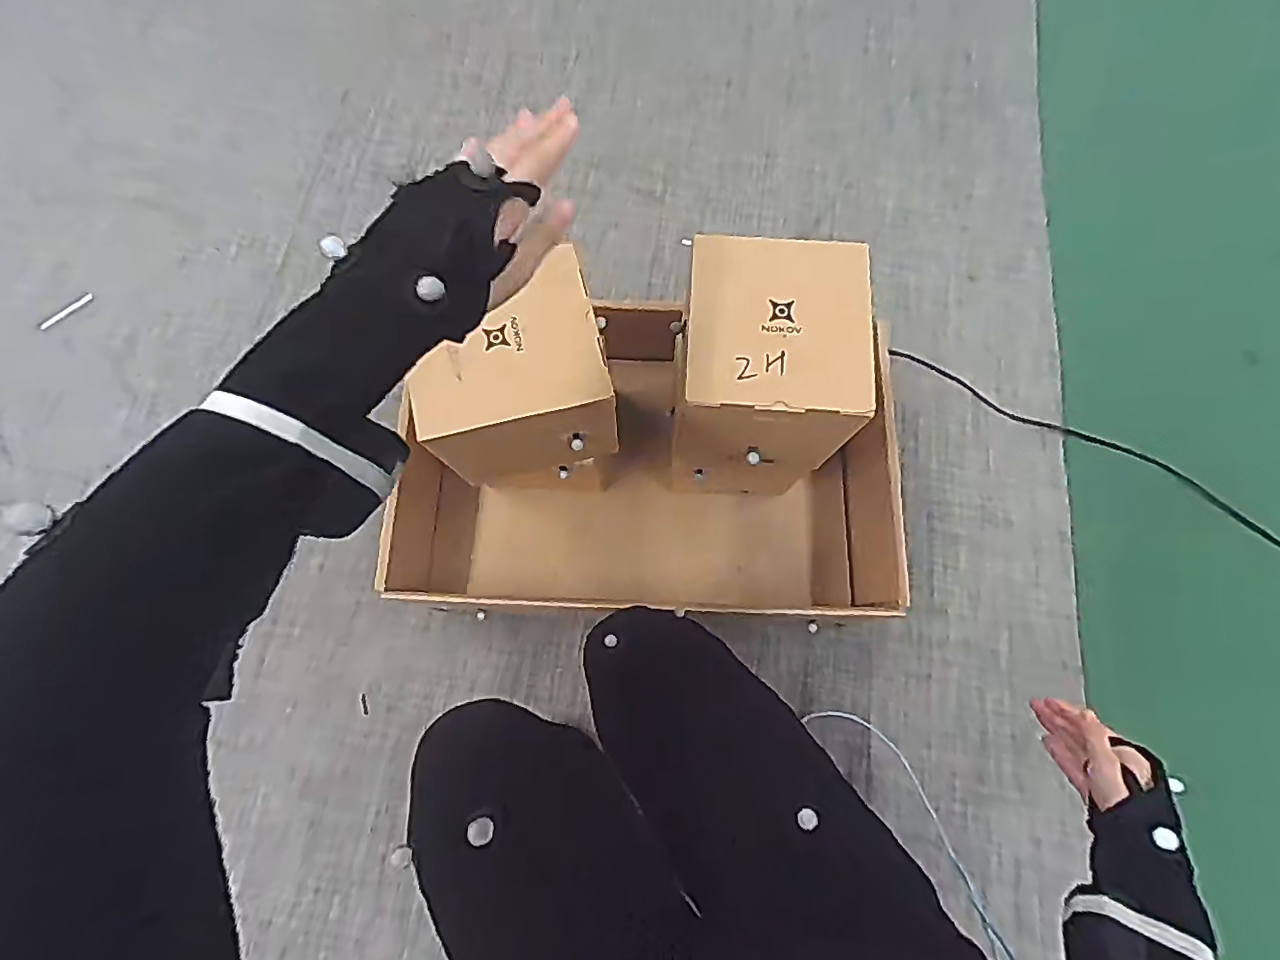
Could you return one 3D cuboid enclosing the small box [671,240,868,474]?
[{"bbox_3d":[0.121,-0.117,0.564,0.168,0.176,0.179,4,76,2],"label":"small box"}]

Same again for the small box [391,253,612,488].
[{"bbox_3d":[-0.130,-0.102,0.565,0.179,0.176,0.168,-13,77,-4],"label":"small box"}]
